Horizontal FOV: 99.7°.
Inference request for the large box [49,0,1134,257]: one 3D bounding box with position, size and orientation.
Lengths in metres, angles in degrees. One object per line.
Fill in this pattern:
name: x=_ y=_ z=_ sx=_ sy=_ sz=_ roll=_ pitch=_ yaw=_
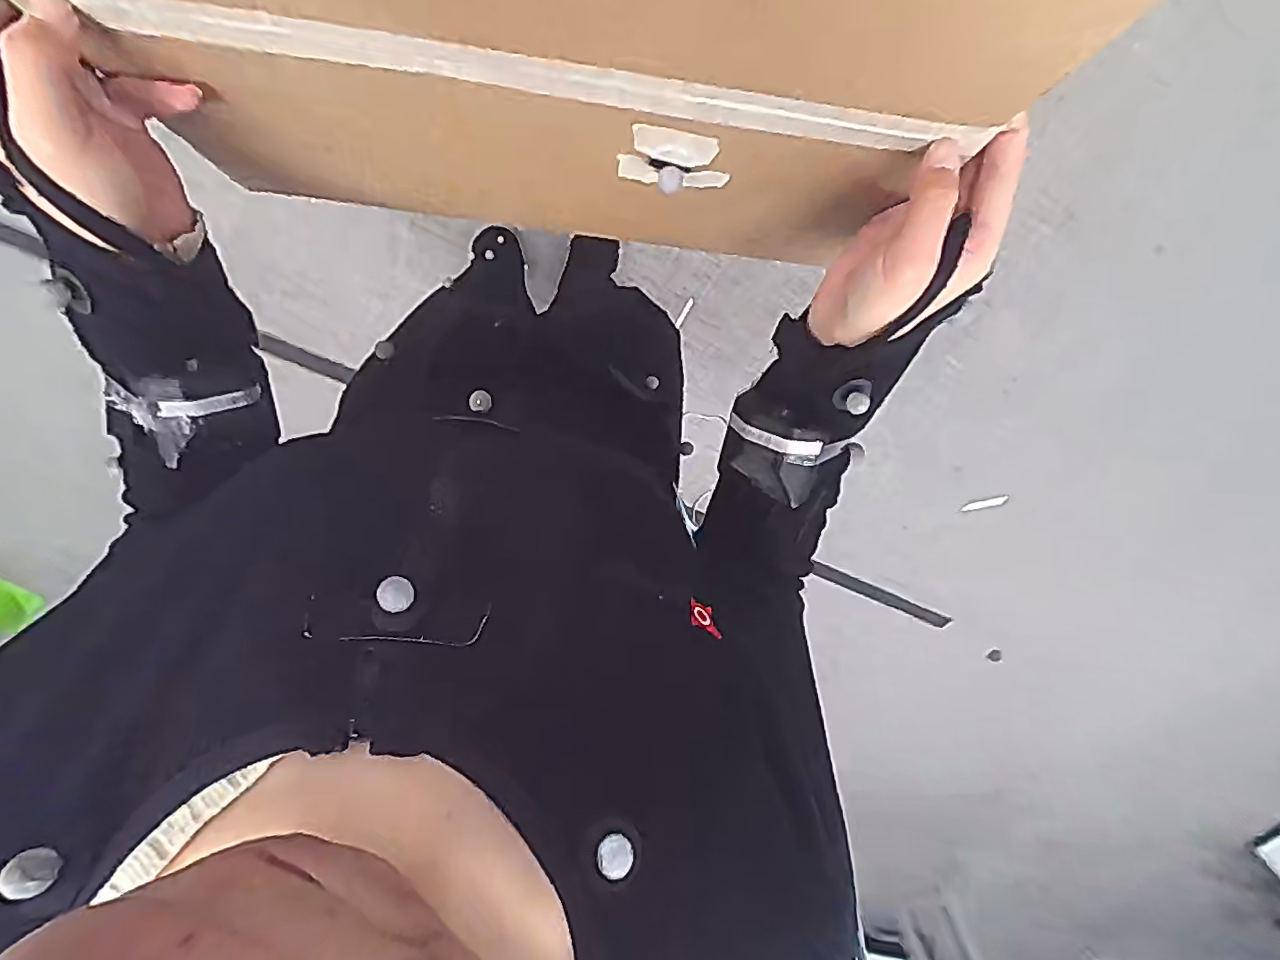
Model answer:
large box: x=-0.030 y=-0.327 z=0.228 sx=0.408 sy=0.320 sz=0.320 roll=5 pitch=92 yaw=-6
